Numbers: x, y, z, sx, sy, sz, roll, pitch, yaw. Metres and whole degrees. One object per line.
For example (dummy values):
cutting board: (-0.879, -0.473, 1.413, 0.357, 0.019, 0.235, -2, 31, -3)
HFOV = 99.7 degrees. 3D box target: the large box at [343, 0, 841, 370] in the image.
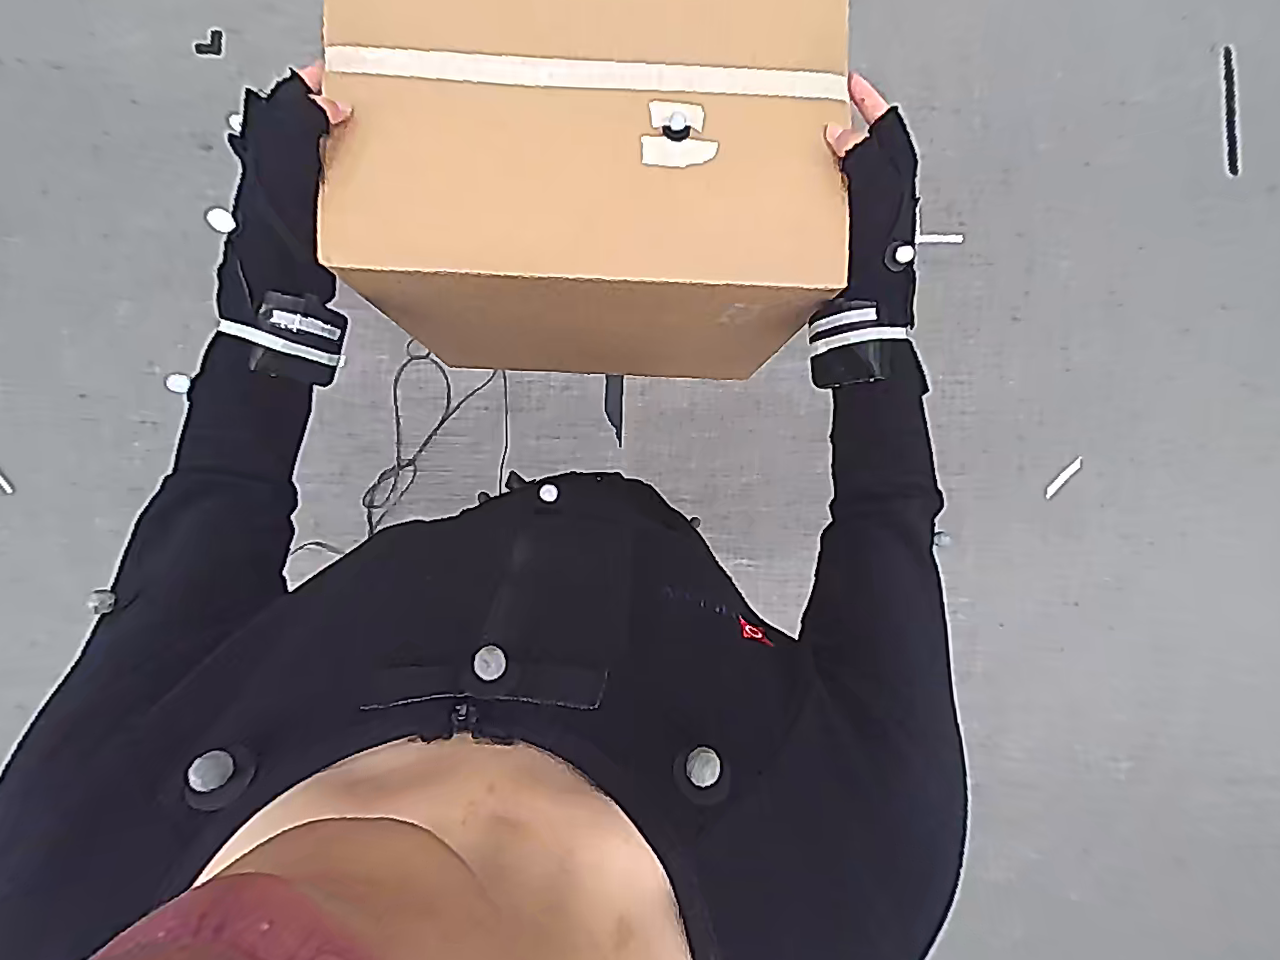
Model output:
large box: (-0.042, -0.310, 0.586, 0.408, 0.320, 0.320, 1, 88, -3)
